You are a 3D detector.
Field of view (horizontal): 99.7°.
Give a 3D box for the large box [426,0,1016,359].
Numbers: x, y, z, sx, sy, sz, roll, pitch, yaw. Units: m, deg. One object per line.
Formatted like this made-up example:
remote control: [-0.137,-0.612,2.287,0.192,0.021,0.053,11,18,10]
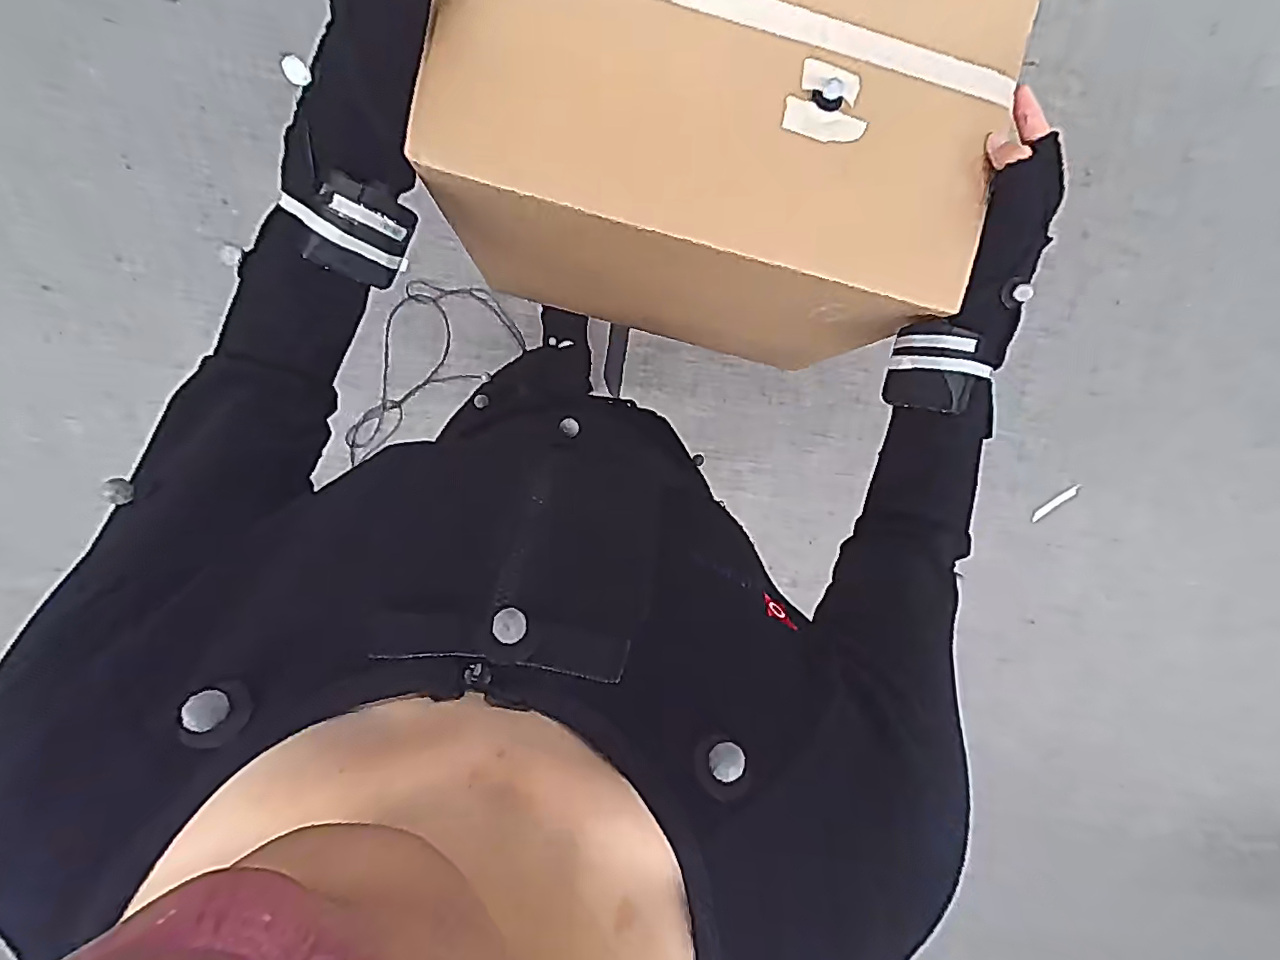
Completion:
large box: [0.057,-0.337,0.536,0.408,0.320,0.320,13,92,-7]
